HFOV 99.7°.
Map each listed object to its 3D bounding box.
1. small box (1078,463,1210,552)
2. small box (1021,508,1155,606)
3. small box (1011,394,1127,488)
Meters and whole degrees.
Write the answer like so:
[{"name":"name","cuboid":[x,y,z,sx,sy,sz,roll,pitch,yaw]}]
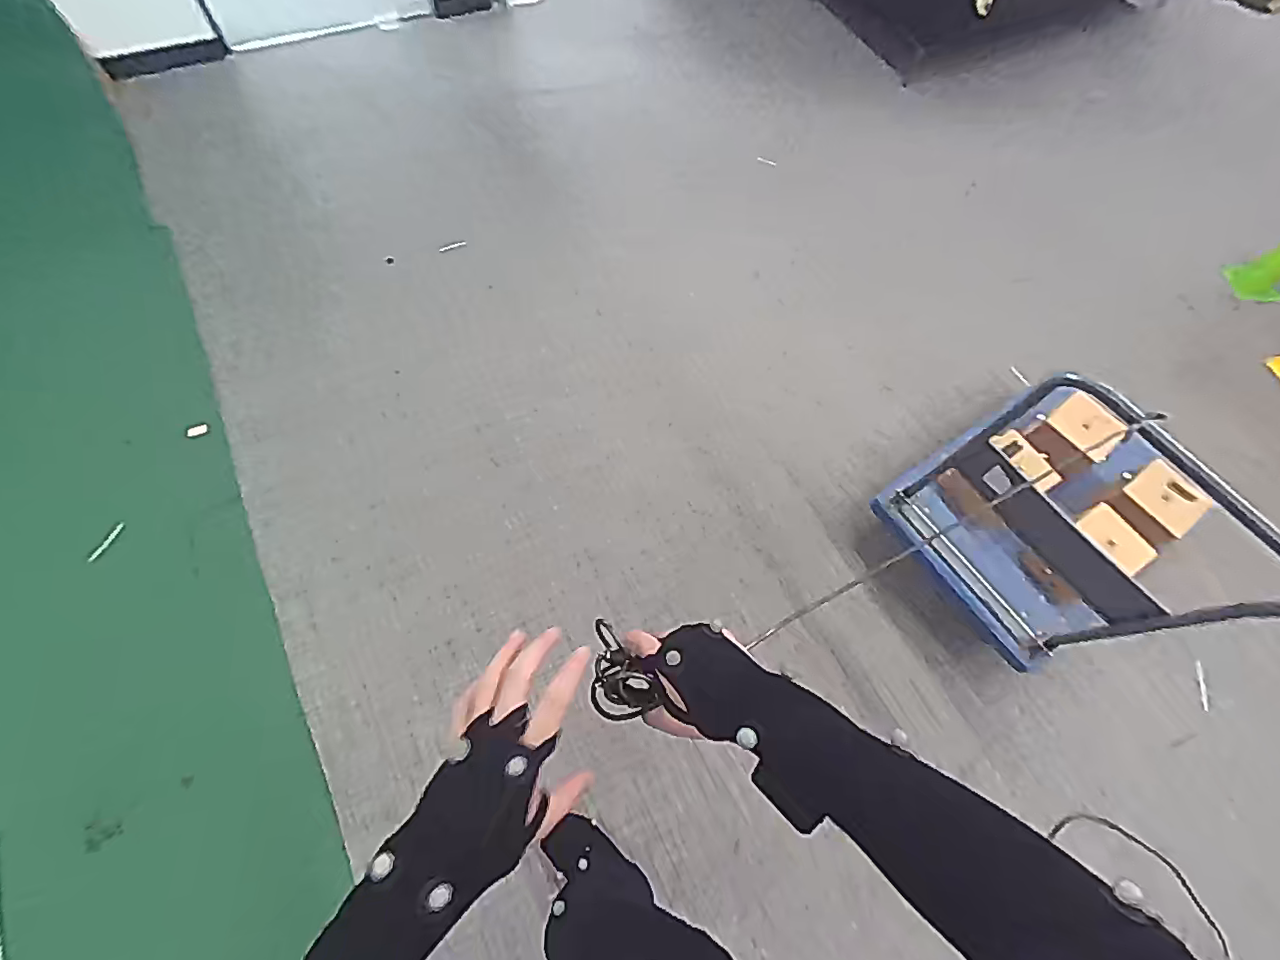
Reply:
[{"name":"small box","cuboid":[1.361,0.089,1.474,0.179,0.176,0.168,-32,70,-17]},{"name":"small box","cuboid":[1.150,0.203,1.405,0.179,0.176,0.168,-29,70,-16]},{"name":"small box","cuboid":[1.217,-0.105,1.554,0.179,0.176,0.168,-34,72,-18]}]
